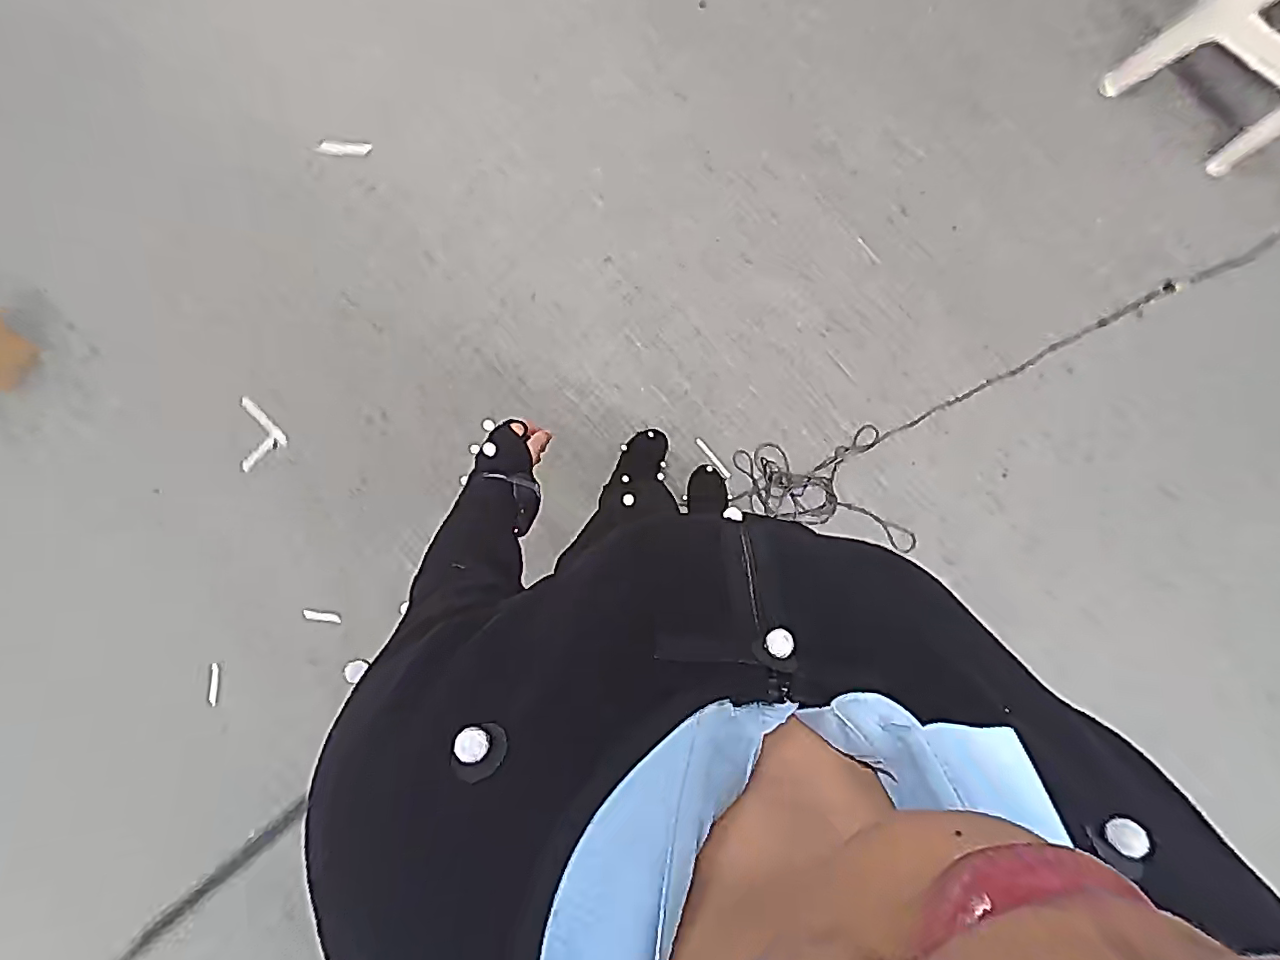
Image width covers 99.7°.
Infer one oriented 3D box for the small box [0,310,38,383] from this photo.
[{"bbox_3d":[-1.837,-0.378,1.478,0.179,0.176,0.168,45,94,0],"label":"small box"}]
